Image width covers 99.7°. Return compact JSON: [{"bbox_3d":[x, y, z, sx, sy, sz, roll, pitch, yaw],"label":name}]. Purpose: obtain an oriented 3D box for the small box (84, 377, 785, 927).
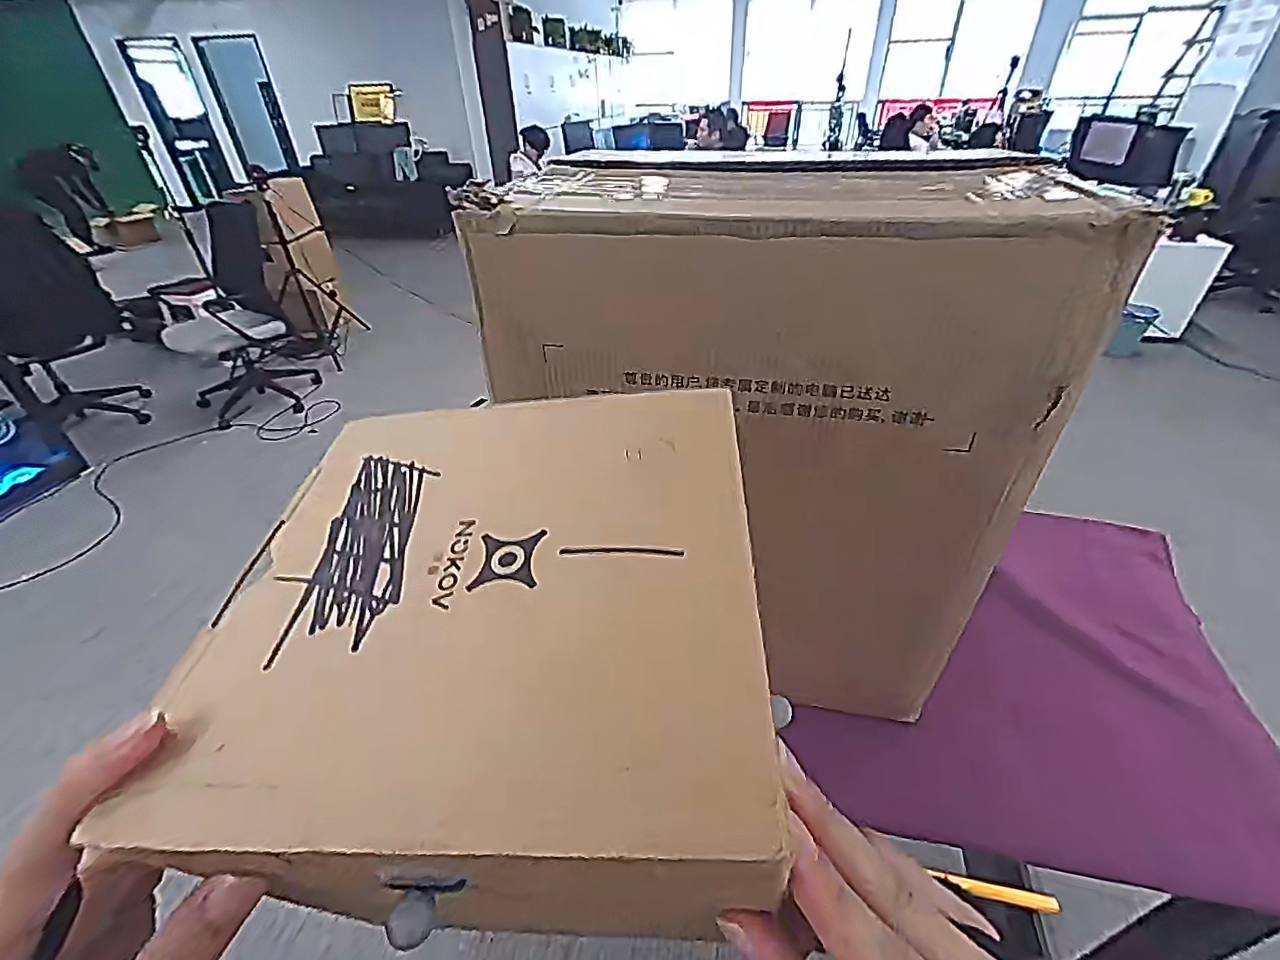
[{"bbox_3d":[-0.039,0.077,0.234,0.179,0.176,0.168,-3,45,7],"label":"small box"}]
